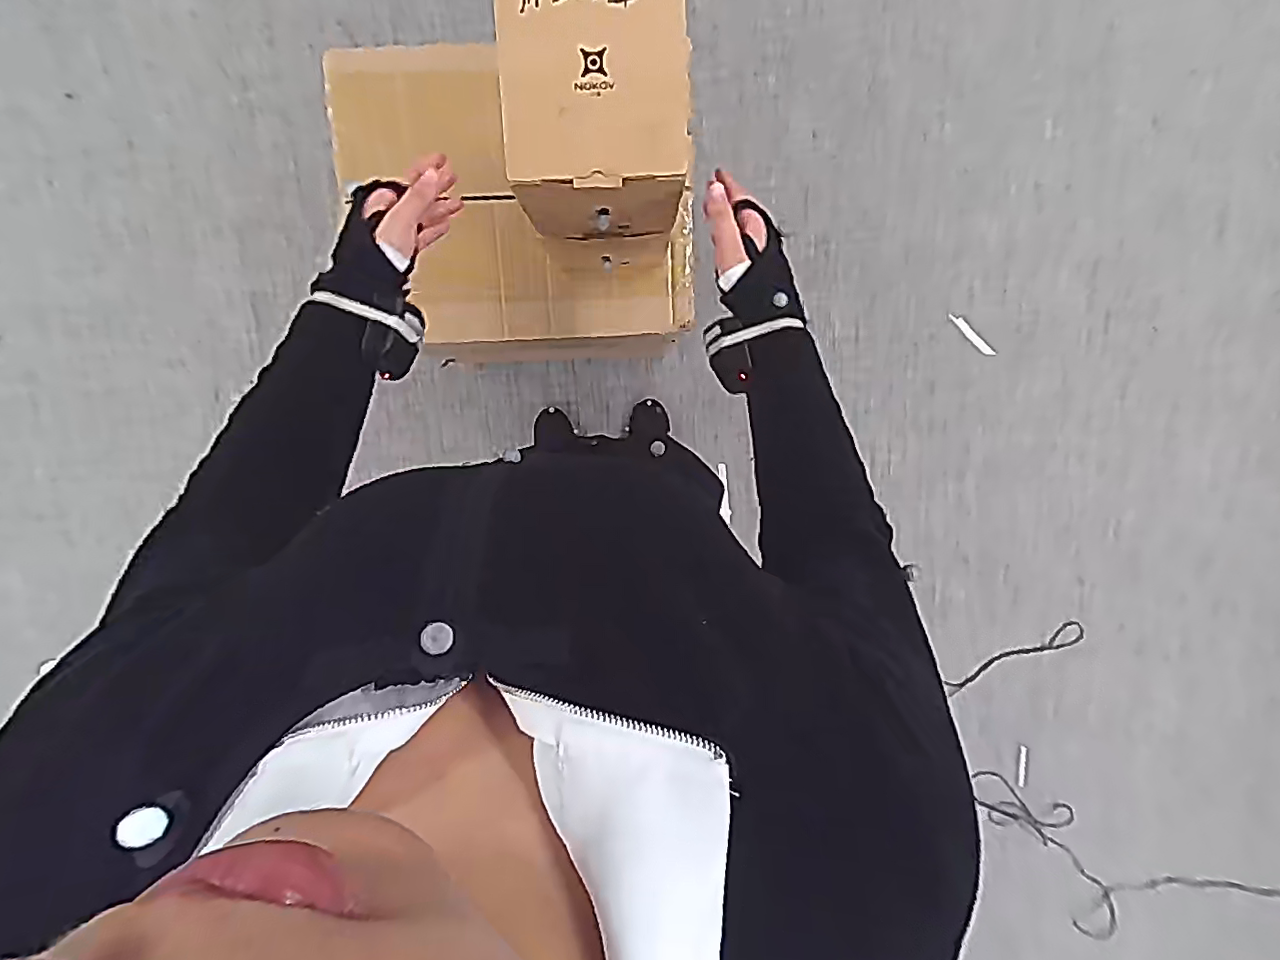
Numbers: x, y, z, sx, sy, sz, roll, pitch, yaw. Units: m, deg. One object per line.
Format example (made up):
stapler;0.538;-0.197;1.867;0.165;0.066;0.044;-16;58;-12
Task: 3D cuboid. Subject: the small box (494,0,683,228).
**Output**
small box;-0.043;-0.369;0.556;0.168;0.176;0.179;-2;101;0

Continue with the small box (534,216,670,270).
small box;-0.050;-0.392;0.718;0.168;0.176;0.179;-3;100;0
